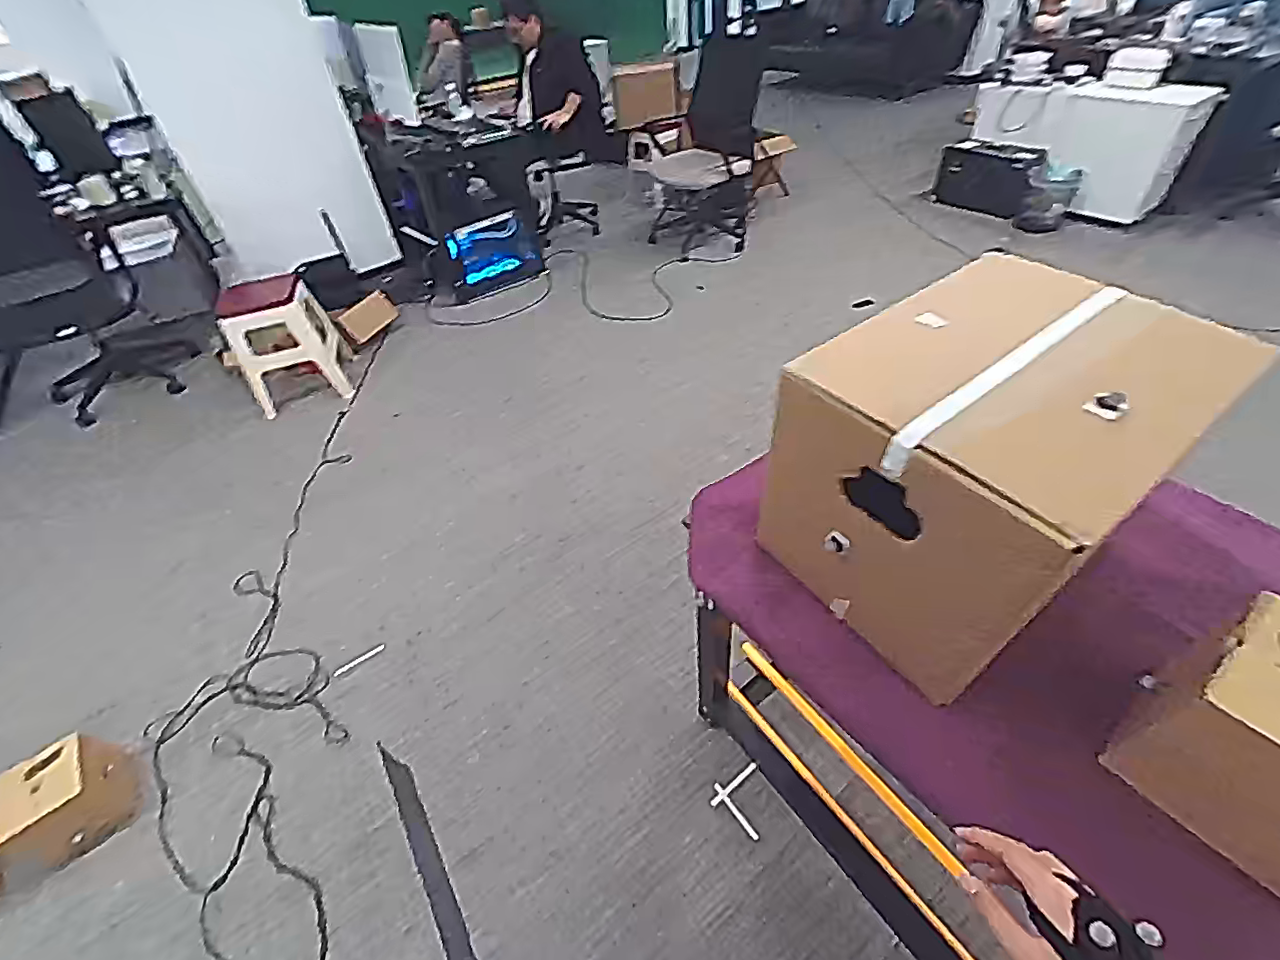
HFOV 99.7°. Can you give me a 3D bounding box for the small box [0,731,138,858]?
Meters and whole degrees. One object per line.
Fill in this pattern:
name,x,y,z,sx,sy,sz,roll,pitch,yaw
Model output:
small box,-1.323,0.732,1.256,0.168,0.176,0.179,-34,51,-23
